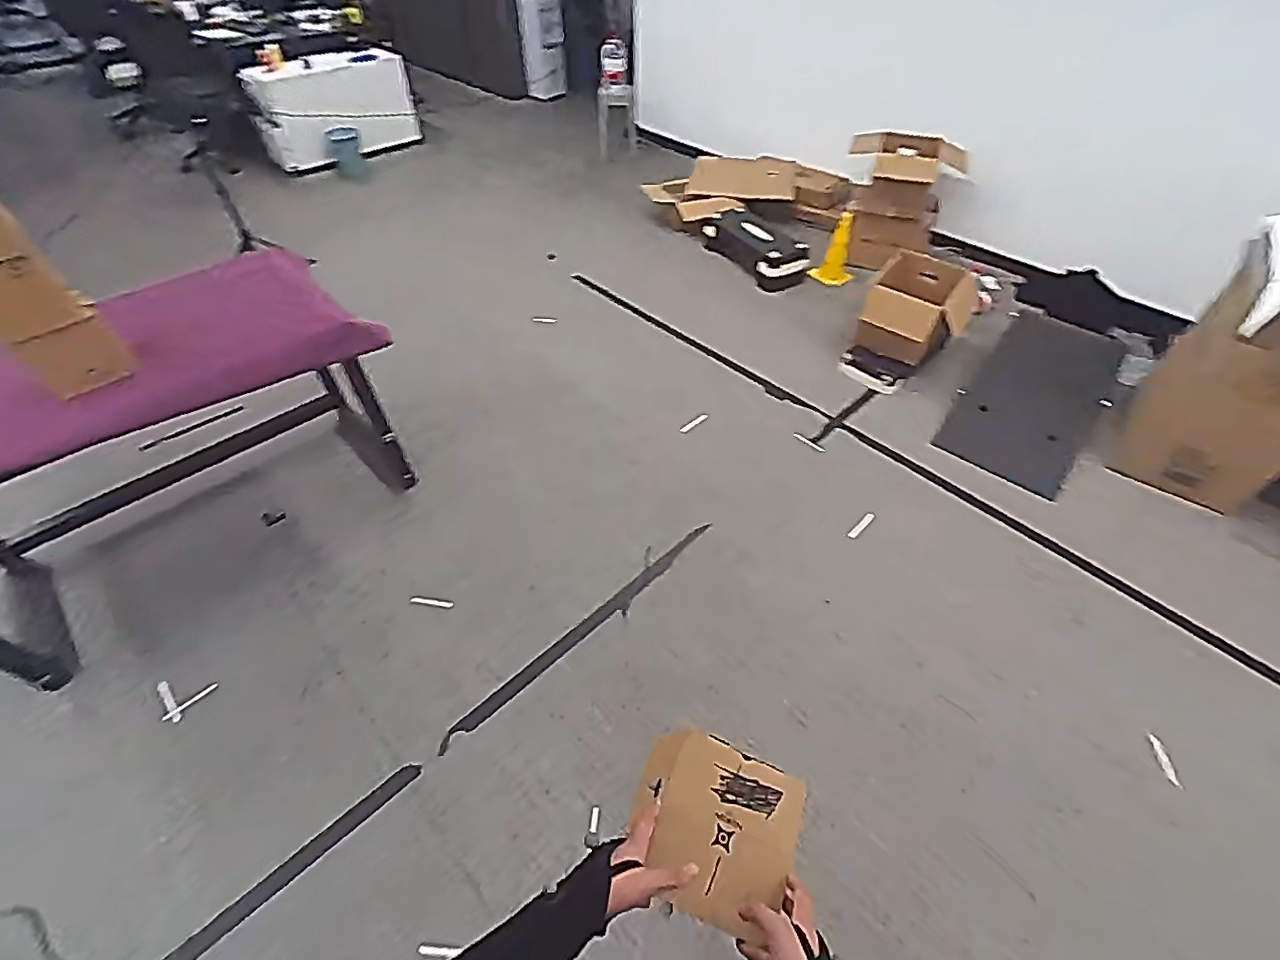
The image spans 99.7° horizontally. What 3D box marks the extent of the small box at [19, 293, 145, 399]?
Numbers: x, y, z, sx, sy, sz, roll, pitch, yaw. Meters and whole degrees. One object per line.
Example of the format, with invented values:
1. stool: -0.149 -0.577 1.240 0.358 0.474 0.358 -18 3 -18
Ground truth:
1. small box: -1.396 -0.334 1.354 0.168 0.176 0.179 35 56 28

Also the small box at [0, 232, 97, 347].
1. small box: -1.402 -0.427 1.218 0.168 0.176 0.179 36 57 28

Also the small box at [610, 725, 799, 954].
1. small box: 0.074 0.442 0.688 0.168 0.176 0.179 26 58 2
